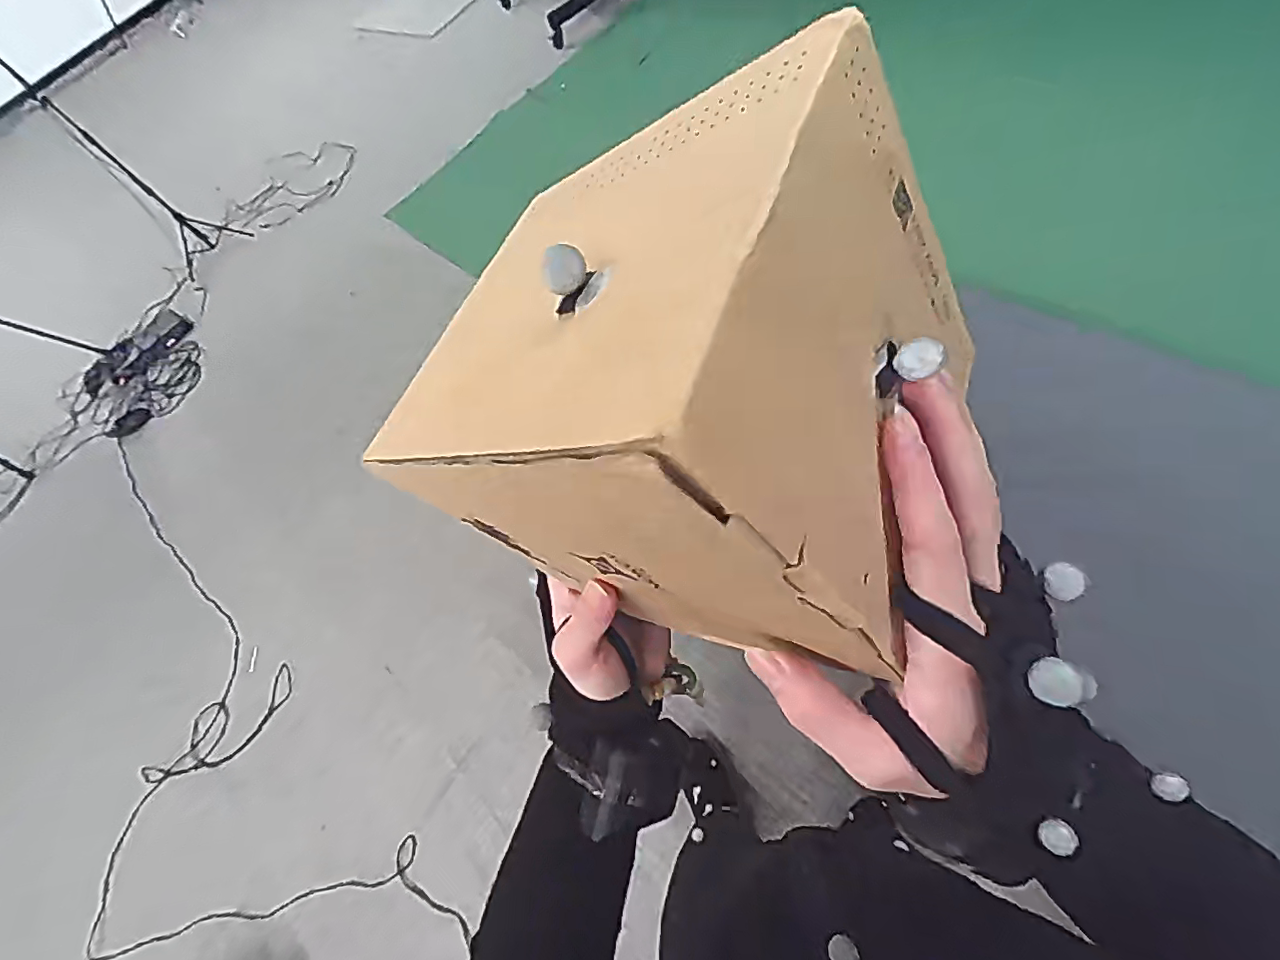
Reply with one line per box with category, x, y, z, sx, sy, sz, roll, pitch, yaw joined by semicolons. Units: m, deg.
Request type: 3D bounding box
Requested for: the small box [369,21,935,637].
small box;0.021;-0.049;0.251;0.179;0.168;0.176;0;57;44
